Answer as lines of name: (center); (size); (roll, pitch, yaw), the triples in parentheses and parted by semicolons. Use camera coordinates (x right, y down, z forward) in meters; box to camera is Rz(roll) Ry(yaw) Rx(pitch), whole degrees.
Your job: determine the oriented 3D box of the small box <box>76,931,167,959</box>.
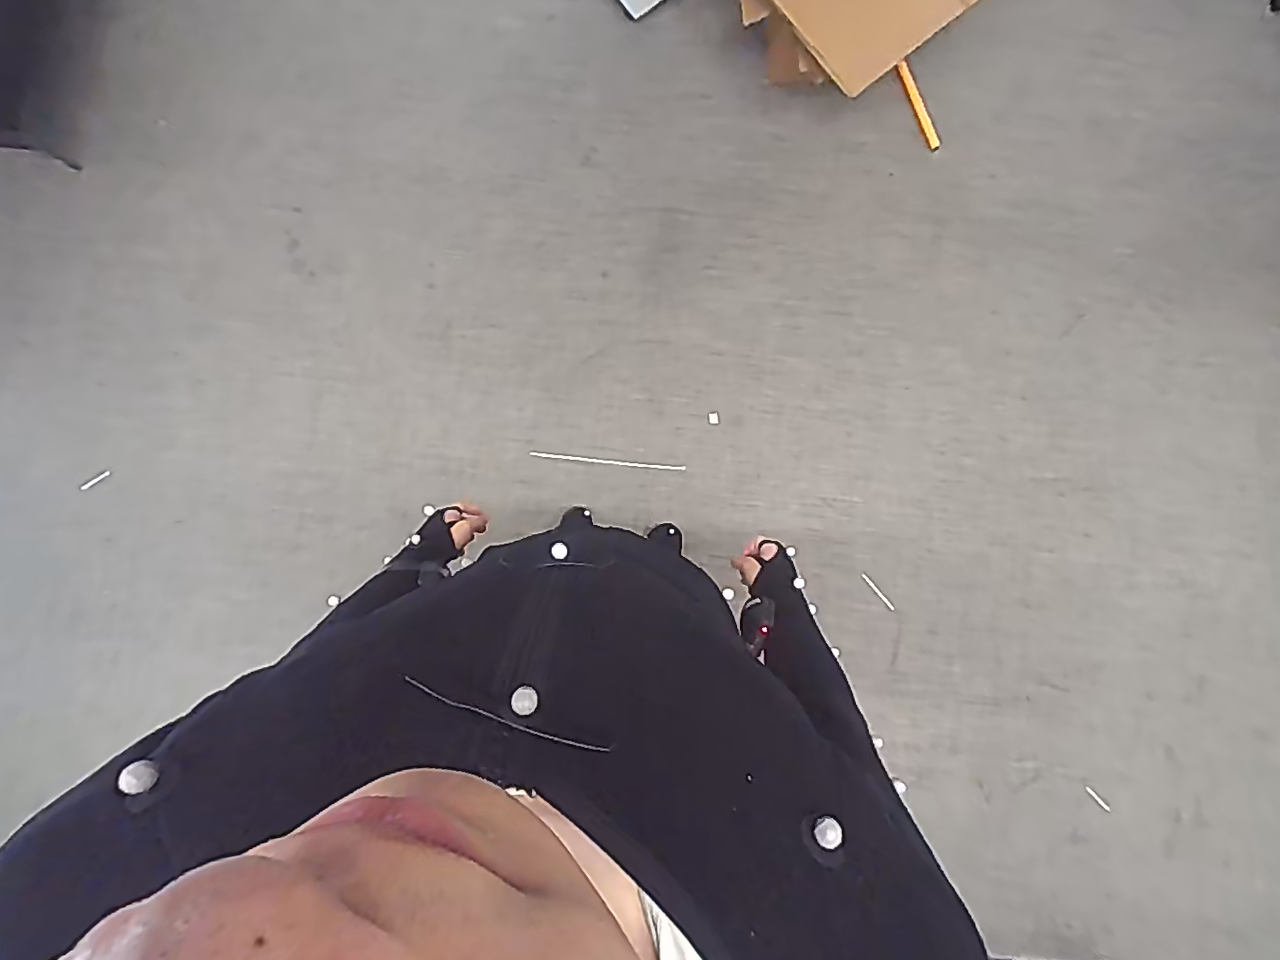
small box: (-1.411, 1.343, 1.428); (0.179, 0.176, 0.168); (6, 86, 0)
